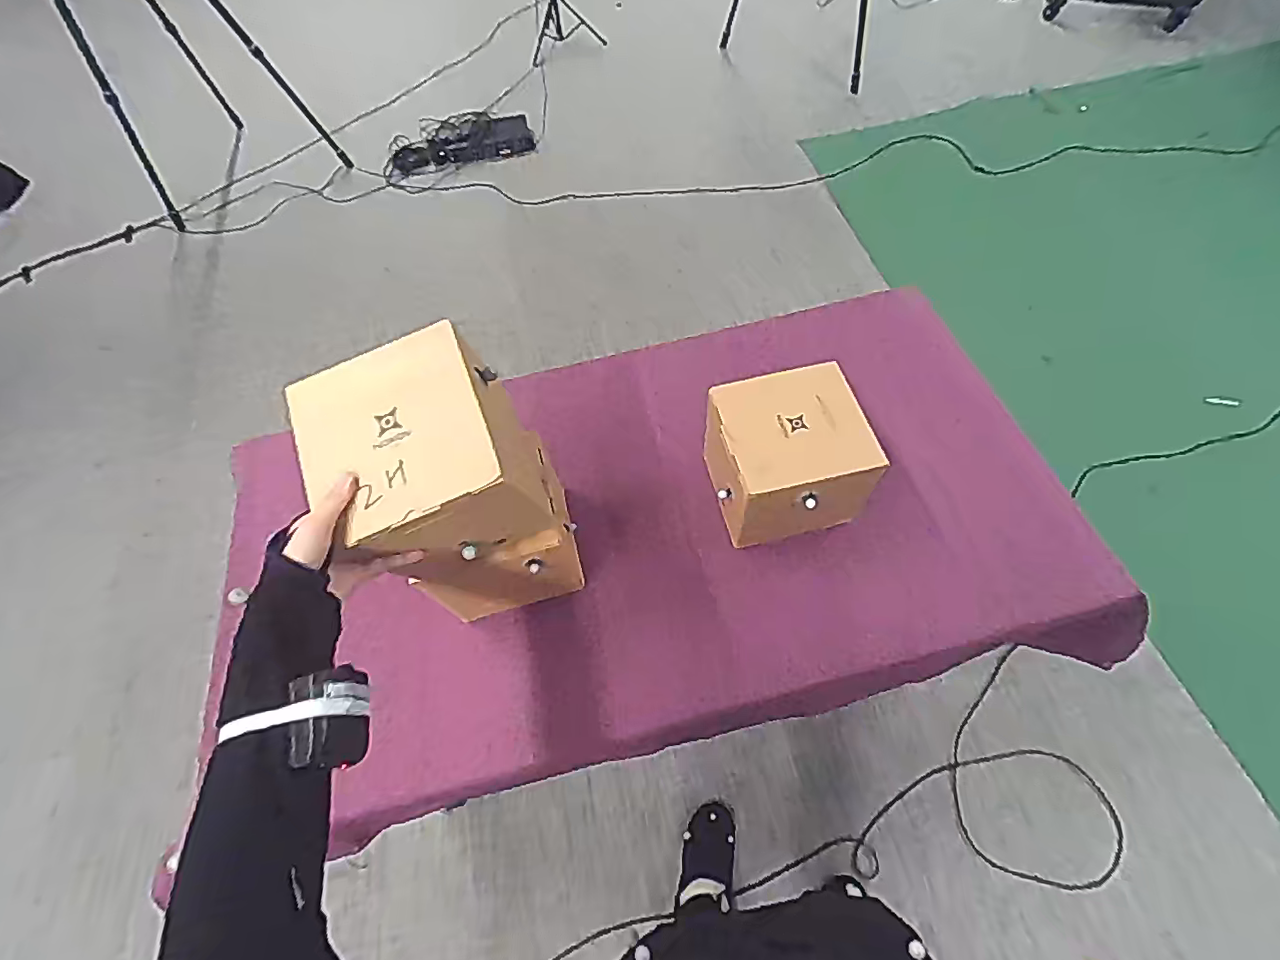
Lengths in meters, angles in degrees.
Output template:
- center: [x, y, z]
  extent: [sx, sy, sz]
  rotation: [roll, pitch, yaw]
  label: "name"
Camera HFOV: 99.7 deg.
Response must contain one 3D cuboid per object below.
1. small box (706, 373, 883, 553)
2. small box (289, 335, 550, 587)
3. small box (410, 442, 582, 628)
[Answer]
- center: [0.194, -0.015, 0.740]
  extent: [0.179, 0.176, 0.168]
  rotation: [-12, 60, -3]
  label: "small box"
- center: [-0.211, -0.007, 0.552]
  extent: [0.168, 0.176, 0.179]
  rotation: [-24, 71, 0]
  label: "small box"
- center: [-0.188, 0.080, 0.718]
  extent: [0.179, 0.176, 0.168]
  rotation: [-15, 59, -5]
  label: "small box"
